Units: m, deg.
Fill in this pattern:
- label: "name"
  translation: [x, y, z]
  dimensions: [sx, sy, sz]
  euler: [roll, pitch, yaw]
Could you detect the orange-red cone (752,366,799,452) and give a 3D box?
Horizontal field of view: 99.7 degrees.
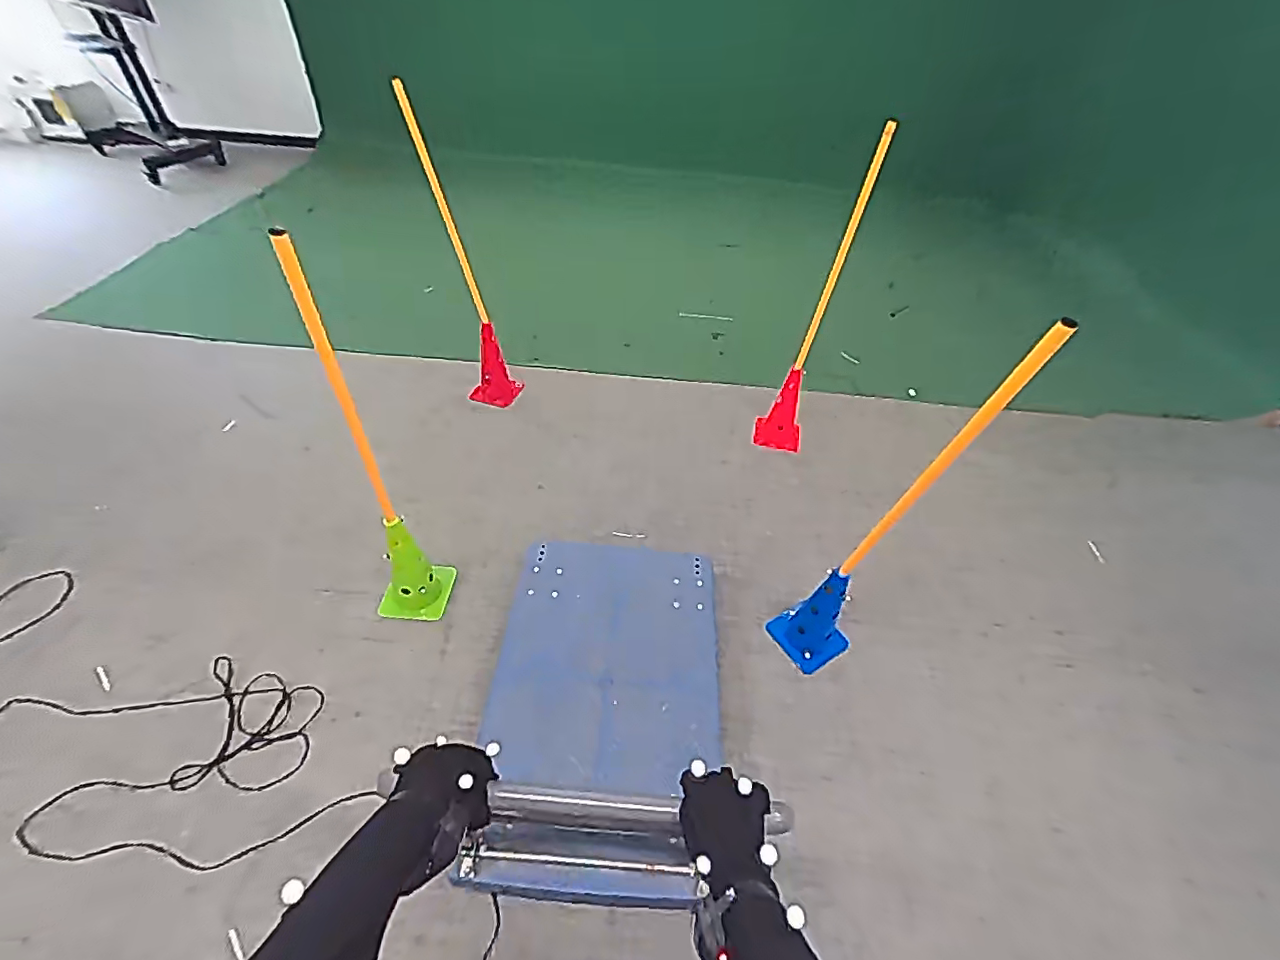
- label: "orange-red cone"
  translation: [0.611, -0.321, 2.283]
  dimensions: [0.198, 0.360, 0.199]
  euler: [13, 46, 9]
